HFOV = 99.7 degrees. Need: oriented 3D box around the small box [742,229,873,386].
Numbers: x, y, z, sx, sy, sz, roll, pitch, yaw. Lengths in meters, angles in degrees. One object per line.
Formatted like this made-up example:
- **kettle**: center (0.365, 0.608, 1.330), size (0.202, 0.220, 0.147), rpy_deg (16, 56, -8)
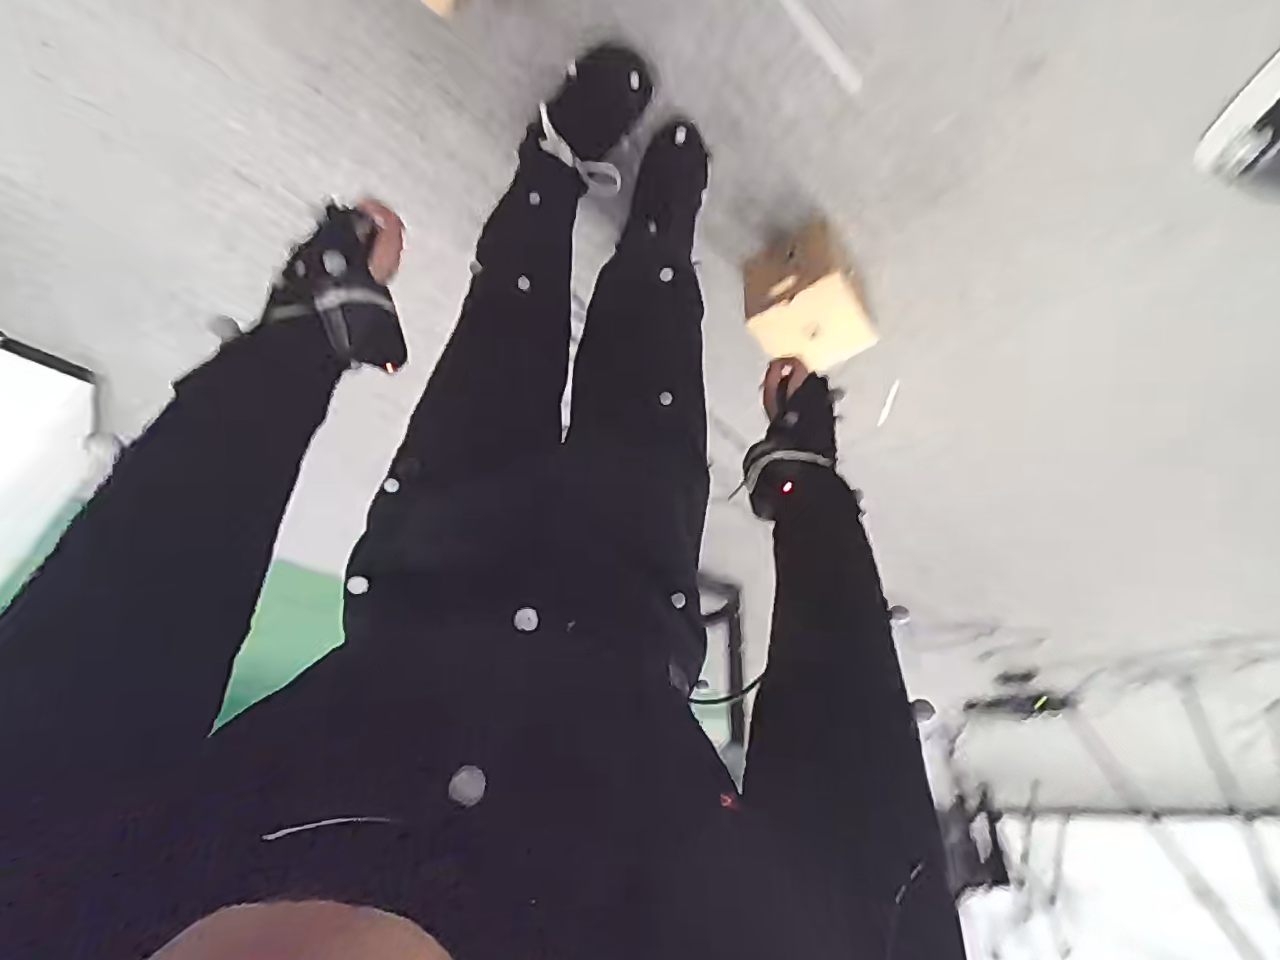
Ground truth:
- **small box**: center (0.300, -0.309, 0.978), size (0.168, 0.176, 0.179), rpy_deg (-23, 135, 34)
